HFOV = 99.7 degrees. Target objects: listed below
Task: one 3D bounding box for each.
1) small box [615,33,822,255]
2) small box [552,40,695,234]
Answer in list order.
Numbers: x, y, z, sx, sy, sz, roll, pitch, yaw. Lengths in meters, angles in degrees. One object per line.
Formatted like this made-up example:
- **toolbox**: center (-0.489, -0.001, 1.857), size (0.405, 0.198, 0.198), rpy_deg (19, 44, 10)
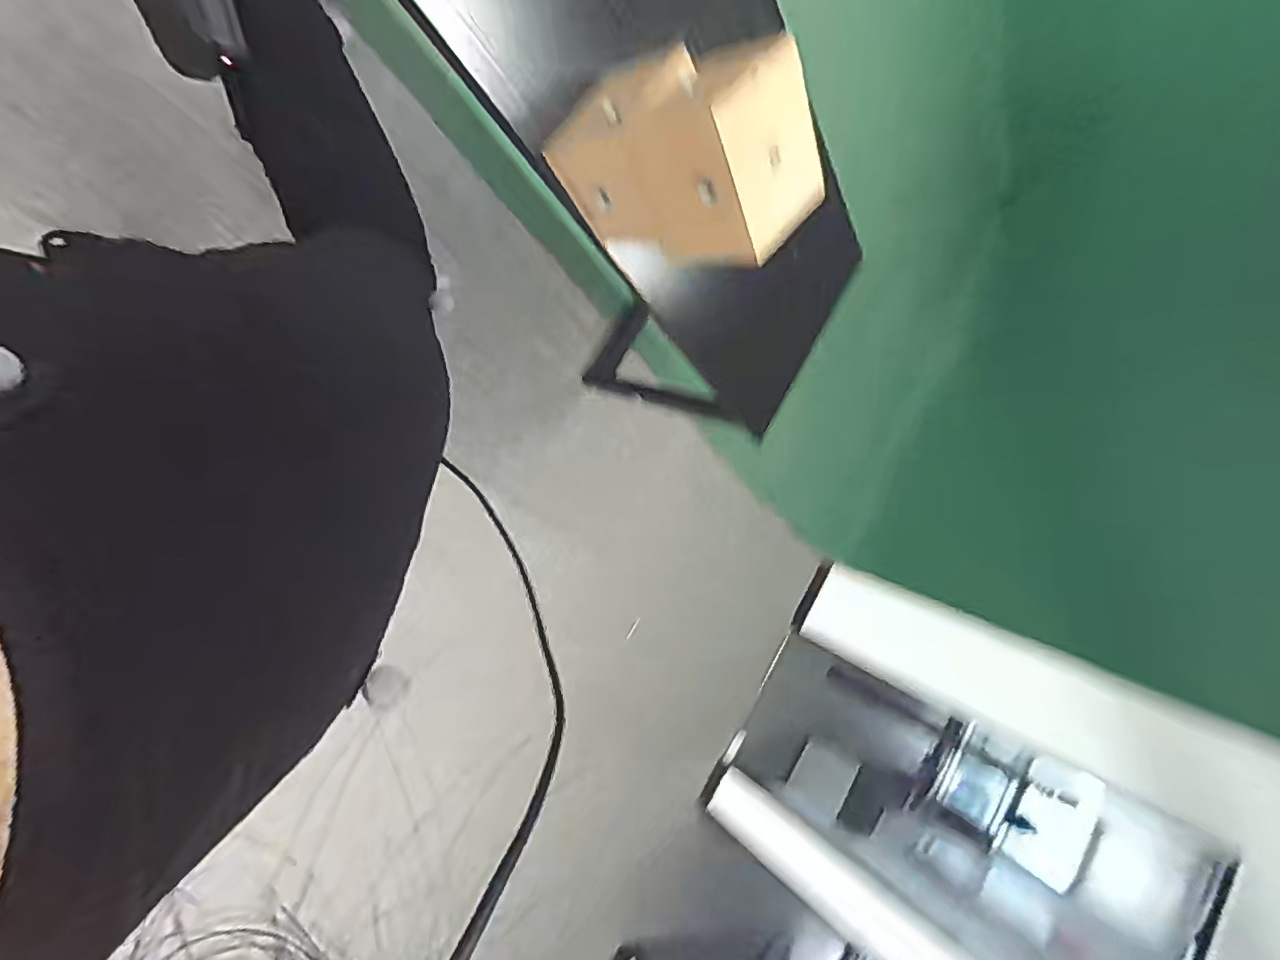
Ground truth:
- **small box**: center (0.101, -0.414, 0.691), size (0.168, 0.176, 0.179), rpy_deg (-50, 134, -17)
- **small box**: center (-0.004, -0.485, 0.795), size (0.179, 0.176, 0.168), rpy_deg (-56, 137, -11)
